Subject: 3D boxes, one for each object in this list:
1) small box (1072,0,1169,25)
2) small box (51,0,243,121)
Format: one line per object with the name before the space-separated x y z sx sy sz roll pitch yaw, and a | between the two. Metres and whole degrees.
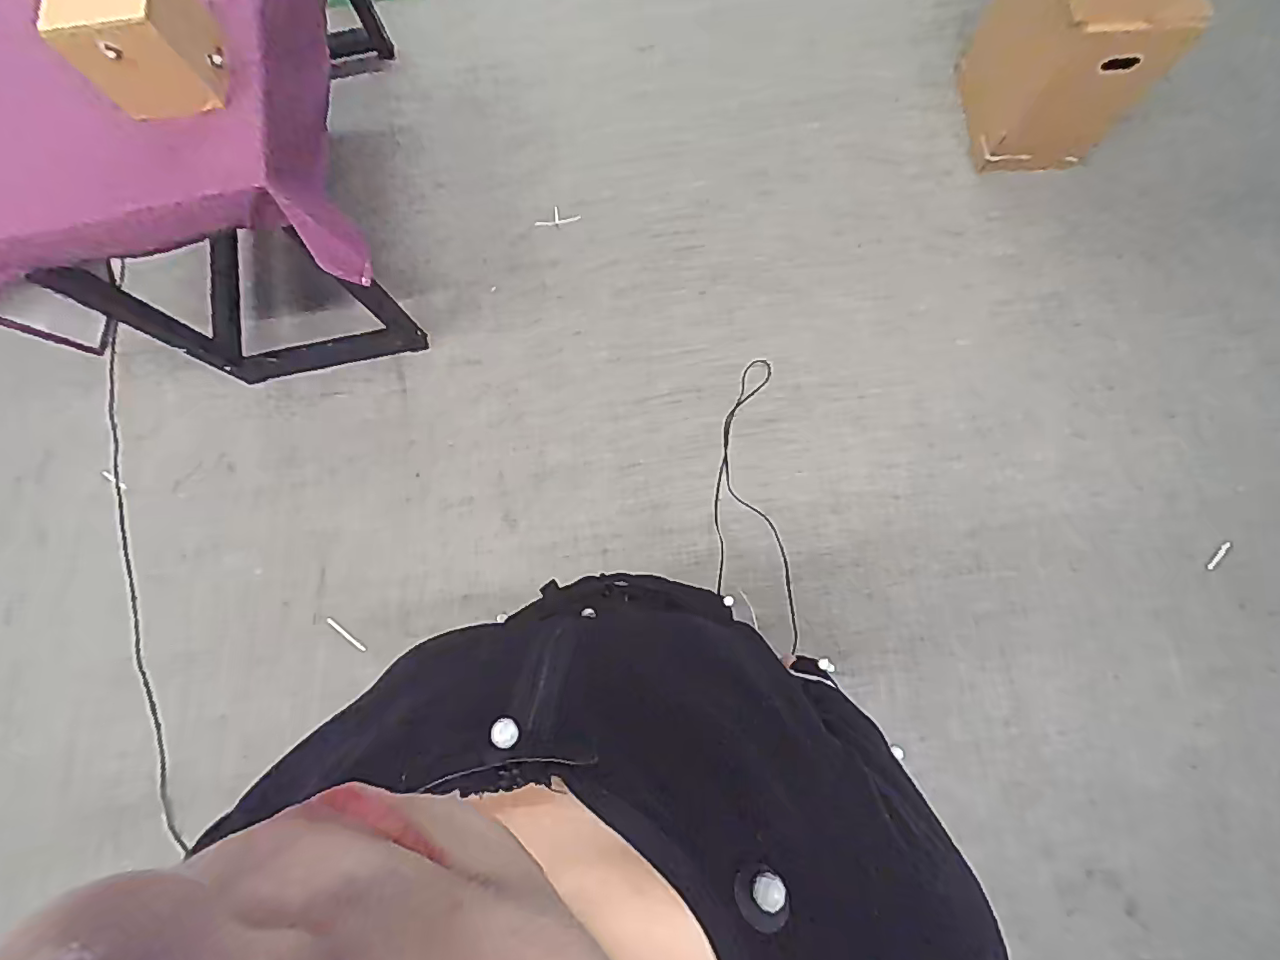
small box | 1.113 -1.163 1.207 0.179 0.176 0.168 0 78 1
small box | -0.845 -0.764 0.943 0.179 0.176 0.168 -5 79 1
